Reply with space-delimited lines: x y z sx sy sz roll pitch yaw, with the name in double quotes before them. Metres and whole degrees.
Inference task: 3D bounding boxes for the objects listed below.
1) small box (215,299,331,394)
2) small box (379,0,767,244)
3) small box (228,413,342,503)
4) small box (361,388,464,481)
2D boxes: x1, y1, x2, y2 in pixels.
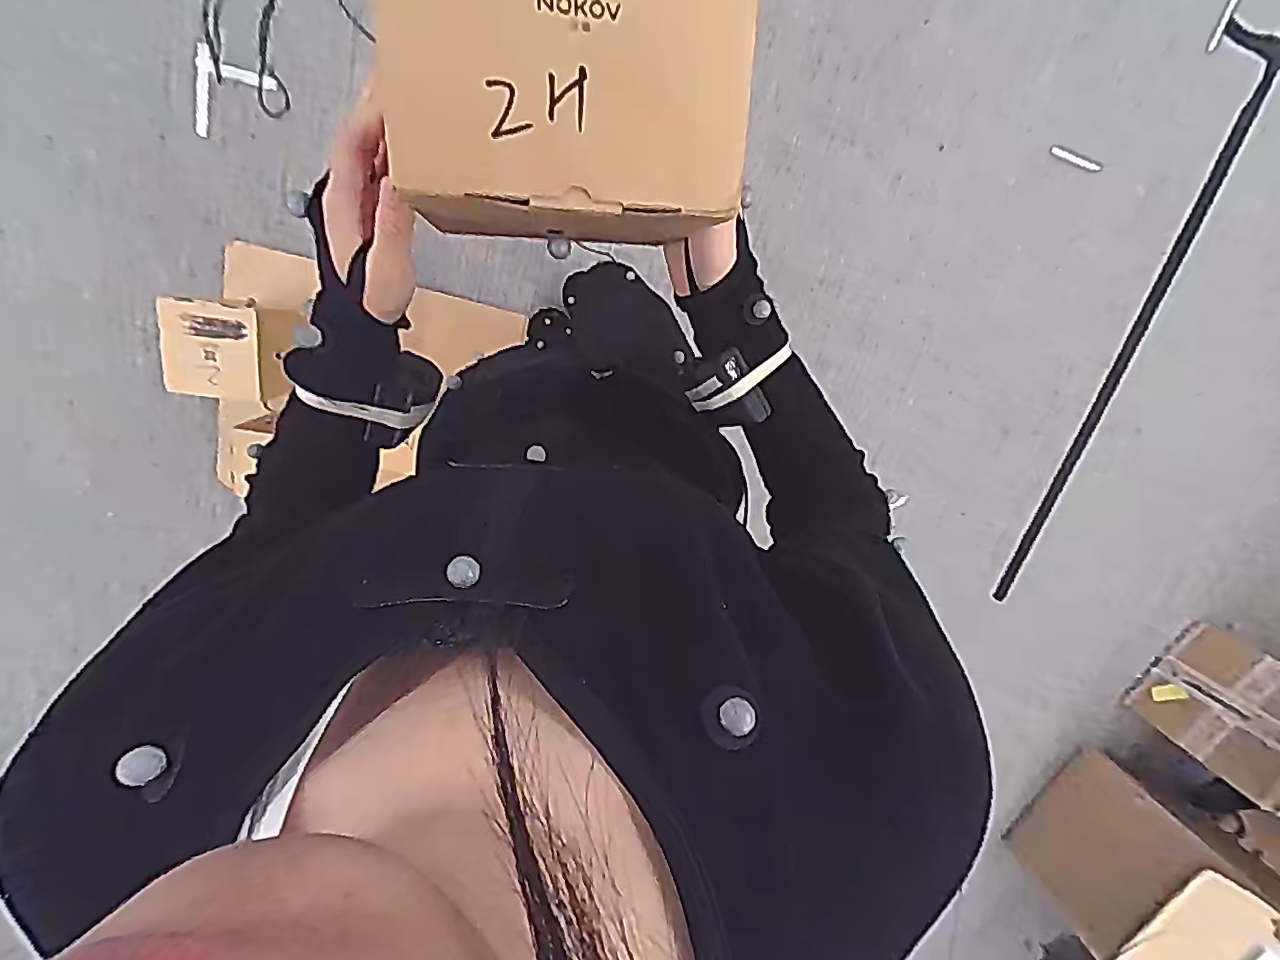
"small box" -0.822 -0.304 1.224 0.168 0.176 0.179 8 107 -10
"small box" -0.040 -0.238 0.297 0.168 0.176 0.179 -1 109 -12
"small box" -0.846 -0.058 1.302 0.179 0.176 0.168 7 109 -10
"small box" -0.547 -0.118 1.318 0.179 0.176 0.168 16 105 -13
